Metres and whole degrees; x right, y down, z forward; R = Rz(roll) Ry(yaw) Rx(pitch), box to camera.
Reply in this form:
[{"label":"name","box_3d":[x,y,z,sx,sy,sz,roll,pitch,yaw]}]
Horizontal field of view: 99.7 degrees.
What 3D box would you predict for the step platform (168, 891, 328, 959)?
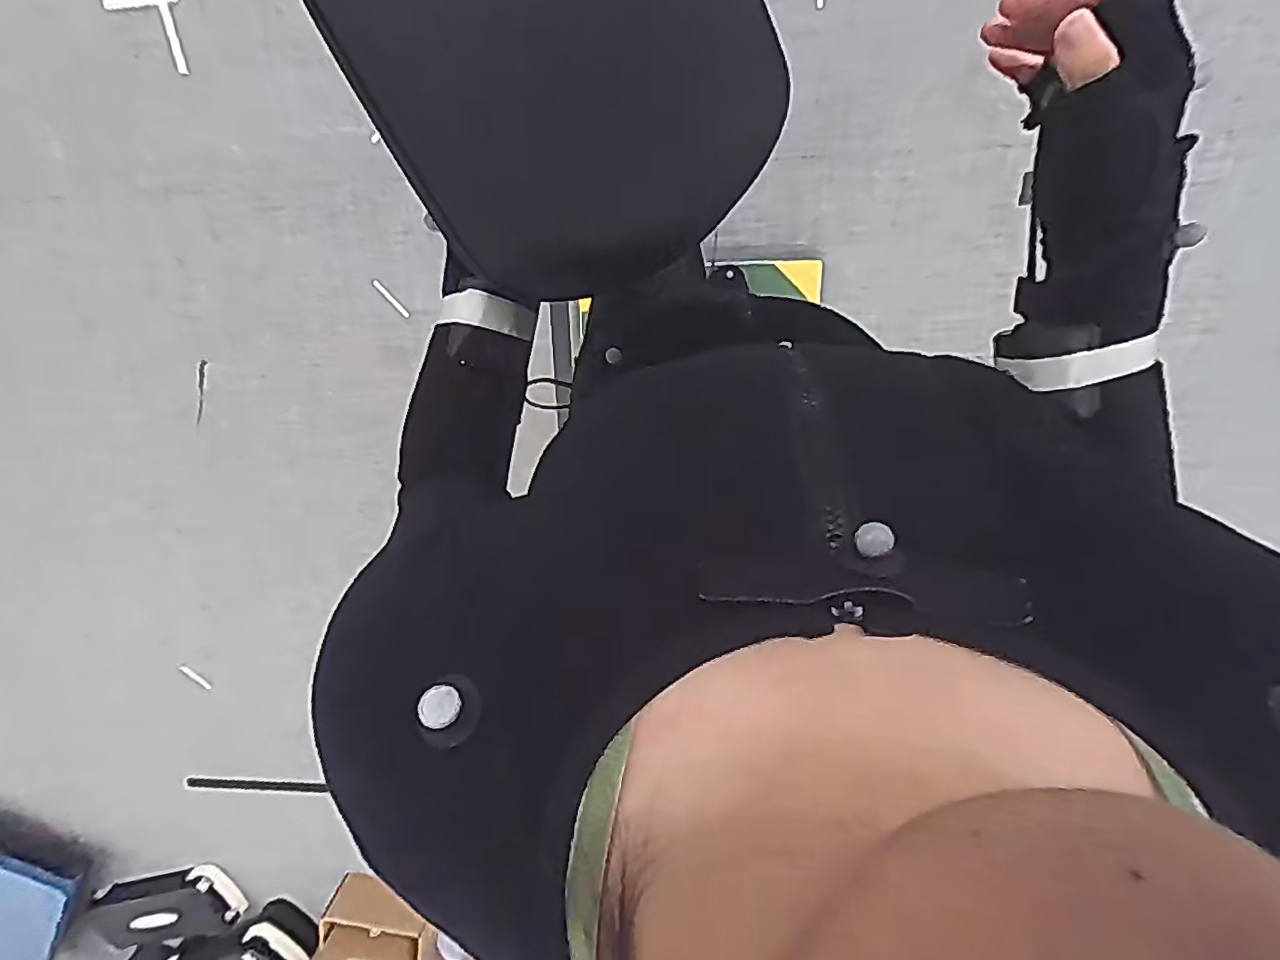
[{"label":"step platform","box_3d":[-1.744,2.071,2.377,0.684,0.204,0.286,-29,107,13]}]
